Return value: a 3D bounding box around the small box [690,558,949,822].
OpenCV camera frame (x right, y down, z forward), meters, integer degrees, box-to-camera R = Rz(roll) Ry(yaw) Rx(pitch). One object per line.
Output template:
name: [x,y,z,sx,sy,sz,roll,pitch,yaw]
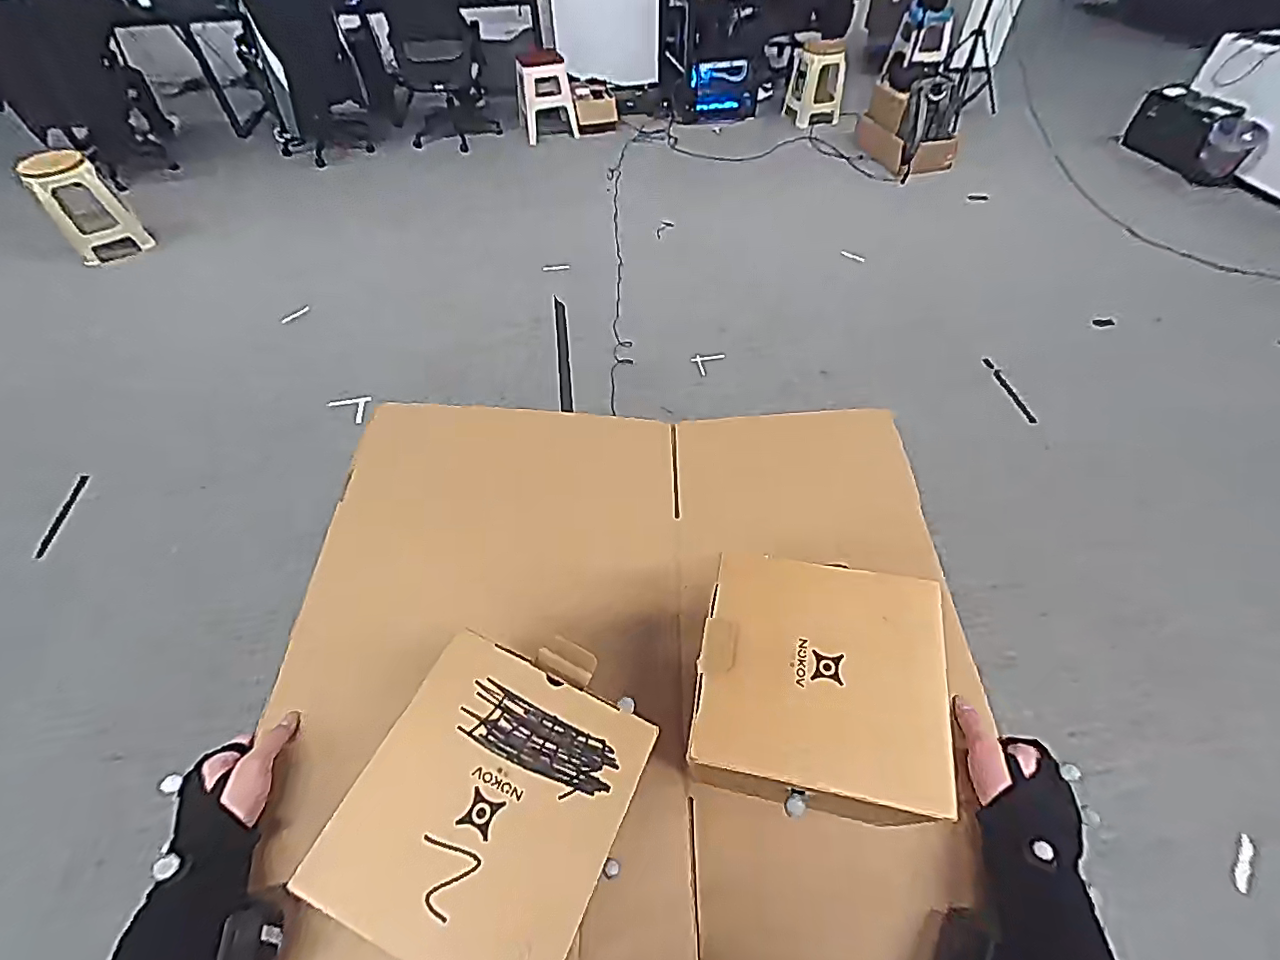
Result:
small box: [0.148,0.189,0.481,0.179,0.176,0.168,6,58,13]
